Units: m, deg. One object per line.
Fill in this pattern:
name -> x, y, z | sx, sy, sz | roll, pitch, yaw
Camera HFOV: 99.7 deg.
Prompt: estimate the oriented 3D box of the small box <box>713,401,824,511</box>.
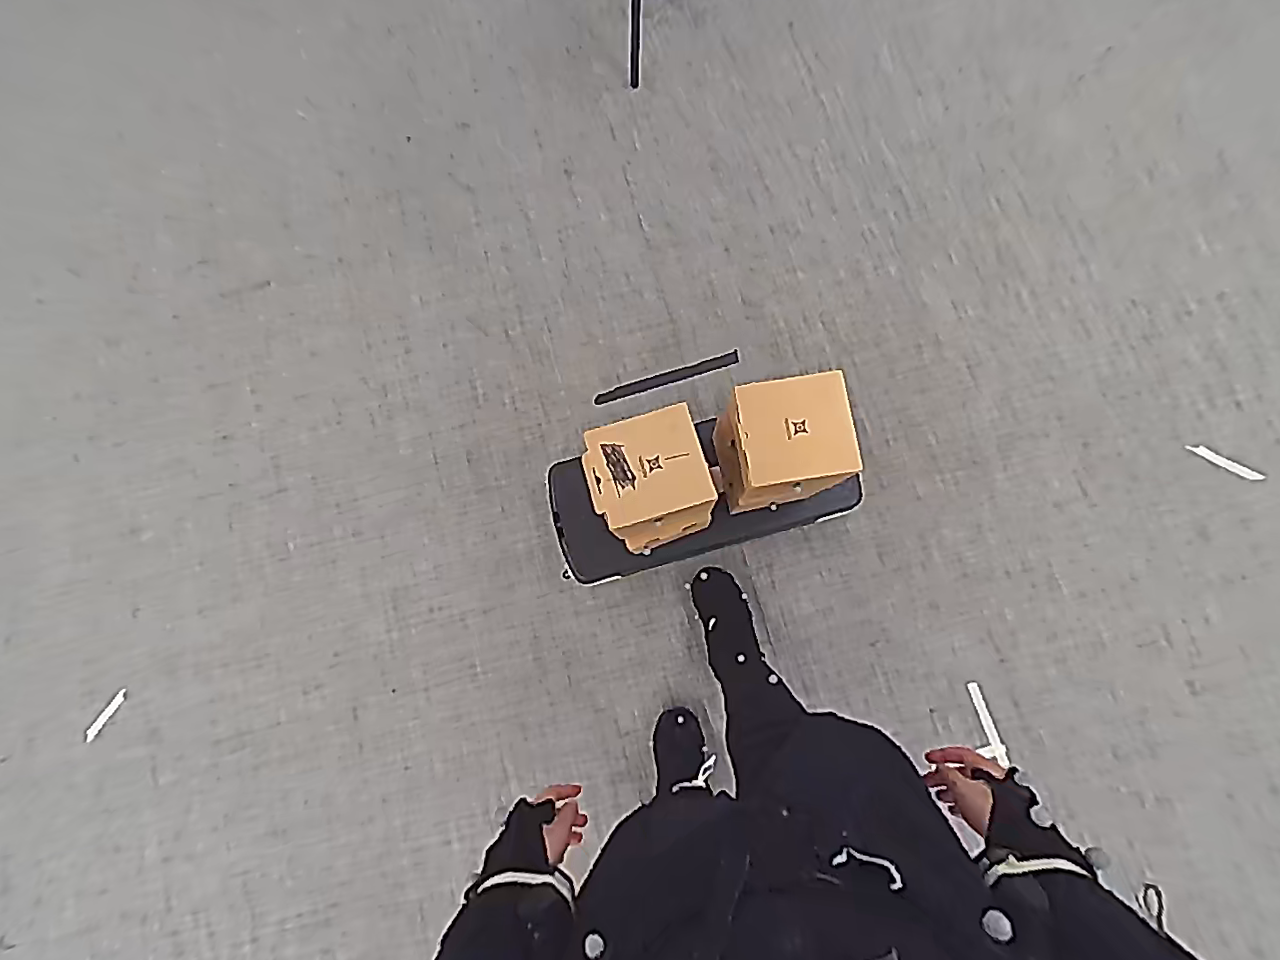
small box -> 0.247, -0.038, 1.078 | 0.168, 0.176, 0.179 | -12, 80, 2
